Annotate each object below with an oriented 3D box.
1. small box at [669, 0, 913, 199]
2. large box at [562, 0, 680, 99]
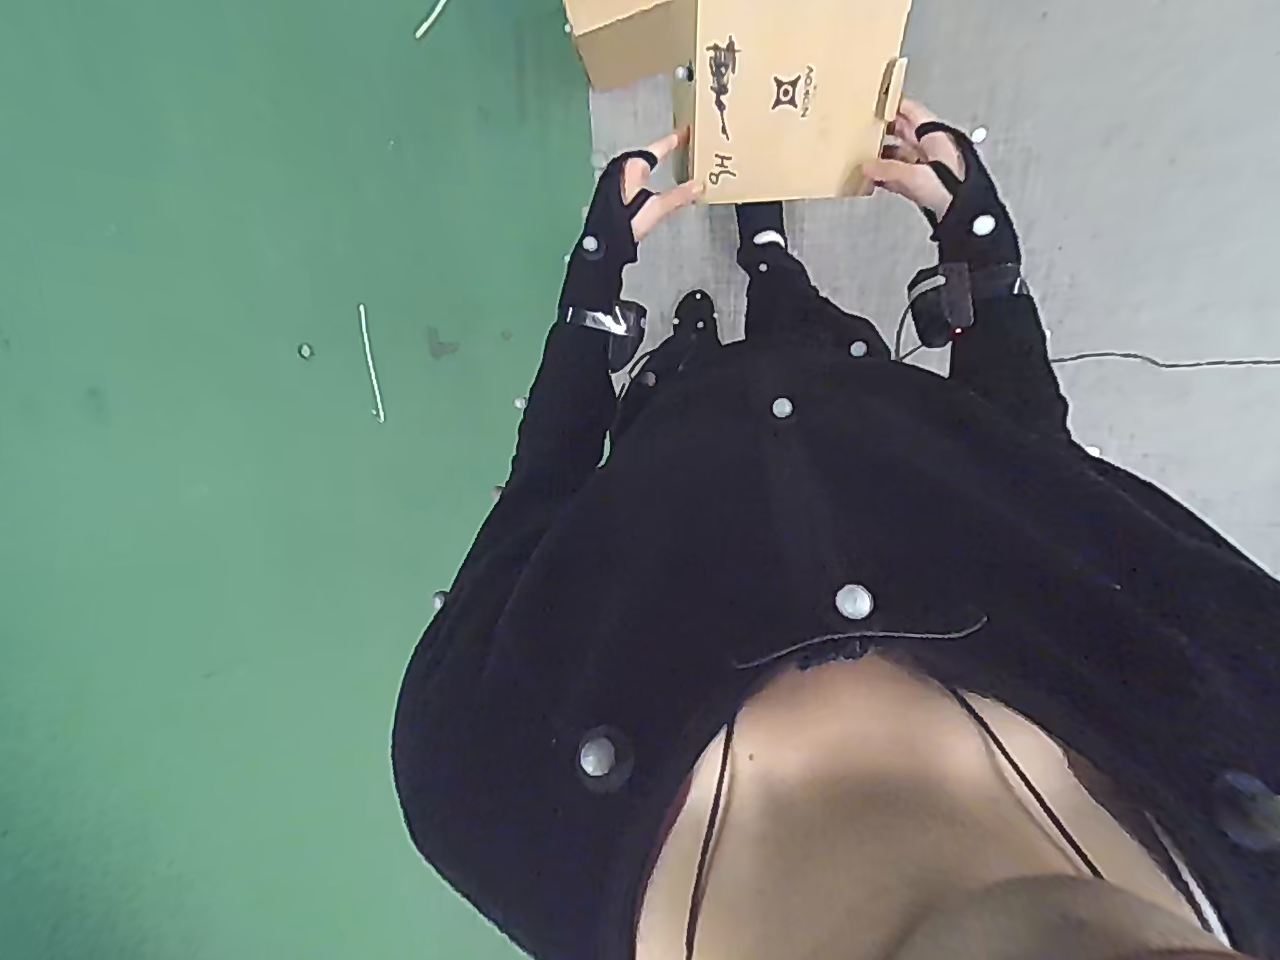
[{"bbox_3d":[0.126,-0.379,0.522,0.179,0.176,0.168,-4,125,-2],"label":"small box"},{"bbox_3d":[0.042,-1.015,1.036,0.408,0.320,0.320,-14,106,9],"label":"large box"}]
